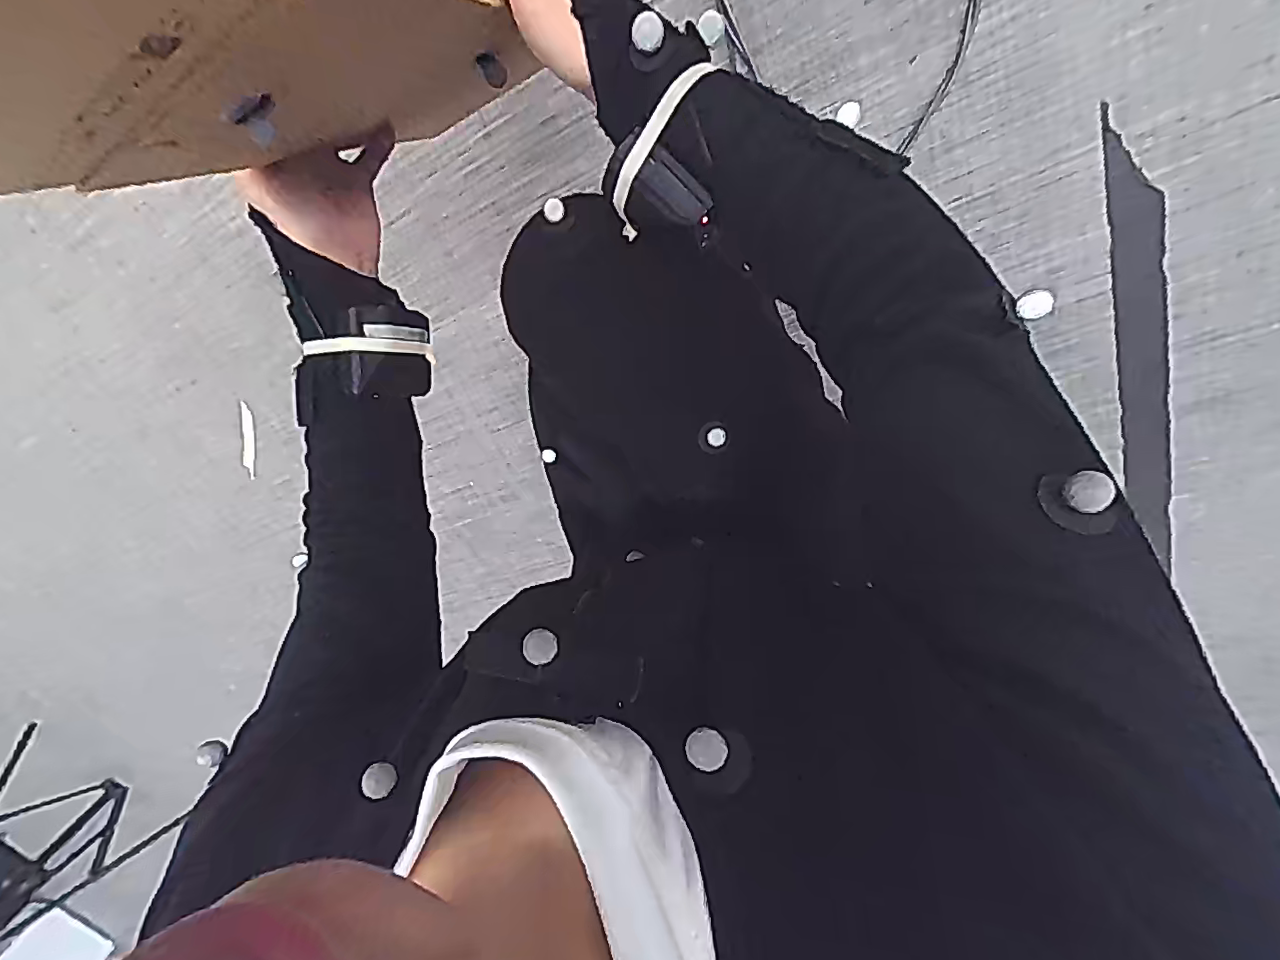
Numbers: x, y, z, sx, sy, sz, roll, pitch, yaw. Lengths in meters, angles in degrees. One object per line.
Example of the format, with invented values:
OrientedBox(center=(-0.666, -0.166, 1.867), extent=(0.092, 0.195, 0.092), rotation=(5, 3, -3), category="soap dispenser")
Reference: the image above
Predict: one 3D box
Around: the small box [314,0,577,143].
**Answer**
OrientedBox(center=(-0.157, -0.352, 0.354), extent=(0.179, 0.176, 0.168), rotation=(-15, 119, 23), category="small box")

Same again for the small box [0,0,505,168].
OrientedBox(center=(-0.184, -0.257, 0.223), extent=(0.179, 0.176, 0.168), rotation=(-15, 120, 21), category="small box")
